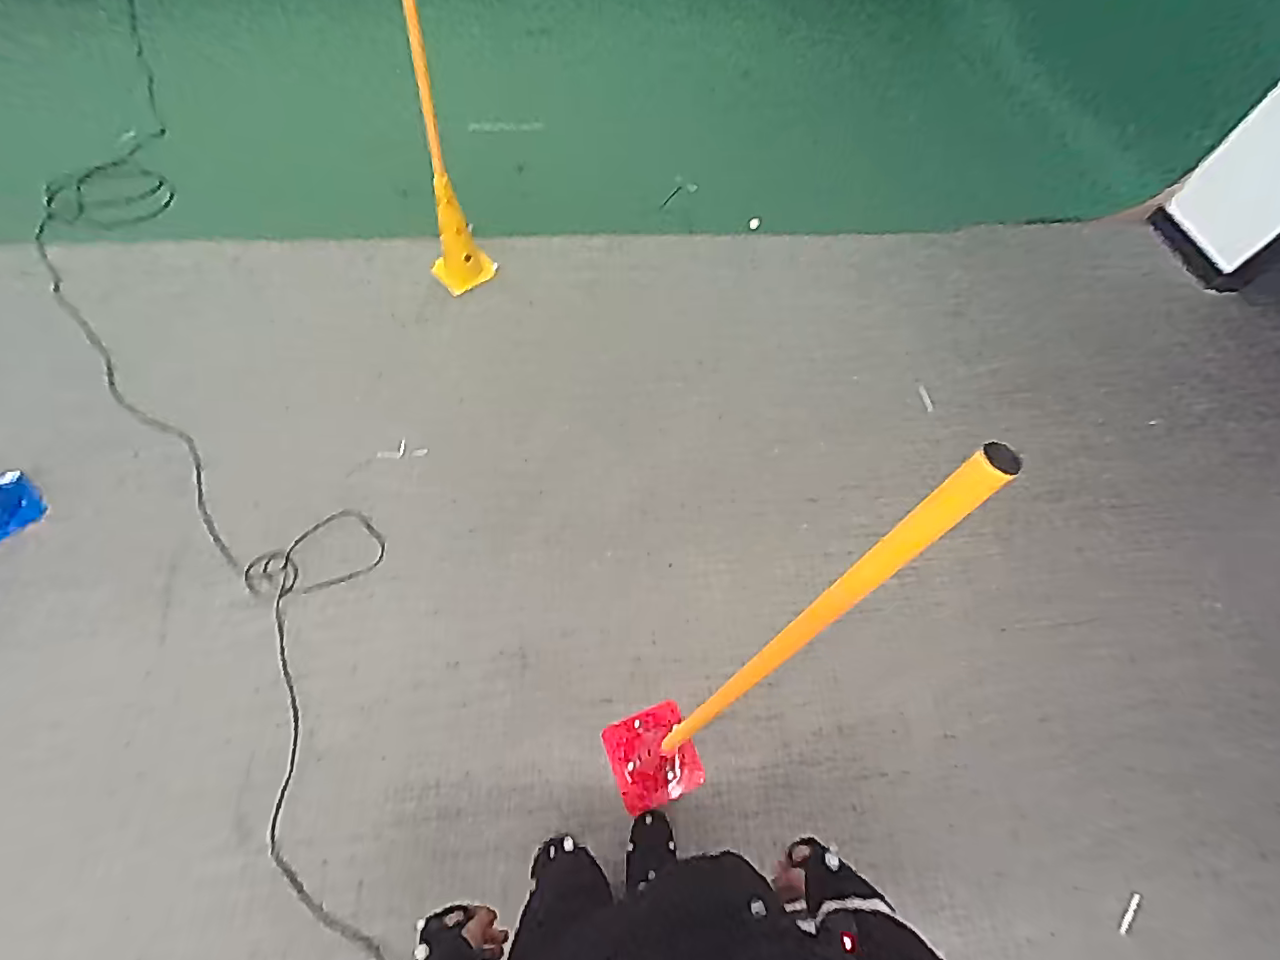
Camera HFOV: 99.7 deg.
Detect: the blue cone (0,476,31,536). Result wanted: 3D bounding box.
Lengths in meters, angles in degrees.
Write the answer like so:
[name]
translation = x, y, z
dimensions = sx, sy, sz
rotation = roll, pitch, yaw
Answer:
[blue cone]
translation = -1.757, 0.023, 1.306
dimensions = 0.192, 0.380, 0.193
rotation = 38, 67, 15
